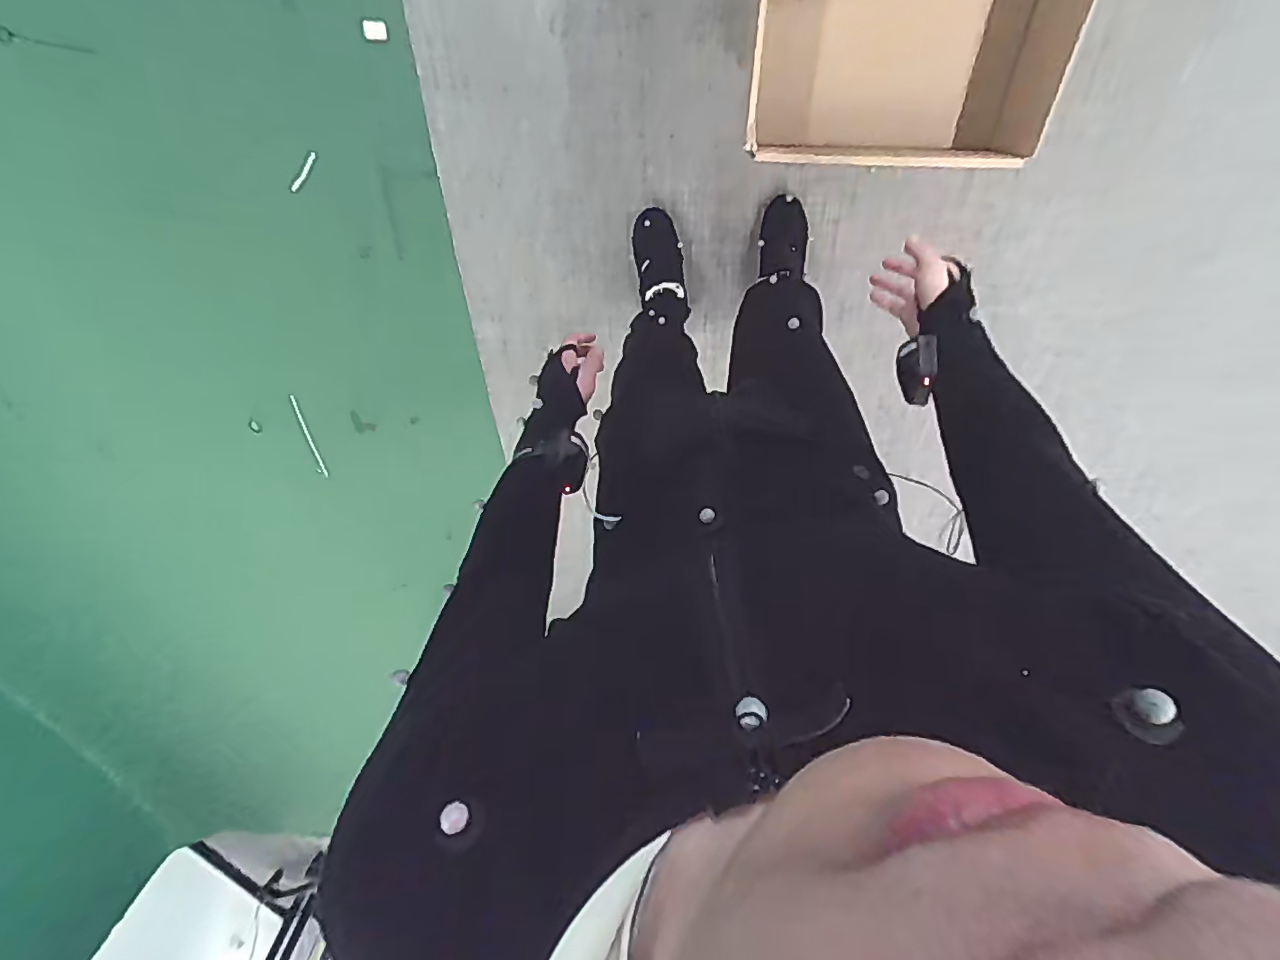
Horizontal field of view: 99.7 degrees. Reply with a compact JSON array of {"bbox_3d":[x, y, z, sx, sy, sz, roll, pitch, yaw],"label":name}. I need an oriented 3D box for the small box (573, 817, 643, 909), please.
[{"bbox_3d":[-0.093,1.118,1.586,0.179,0.176,0.168,8,126,0],"label":"small box"}]
